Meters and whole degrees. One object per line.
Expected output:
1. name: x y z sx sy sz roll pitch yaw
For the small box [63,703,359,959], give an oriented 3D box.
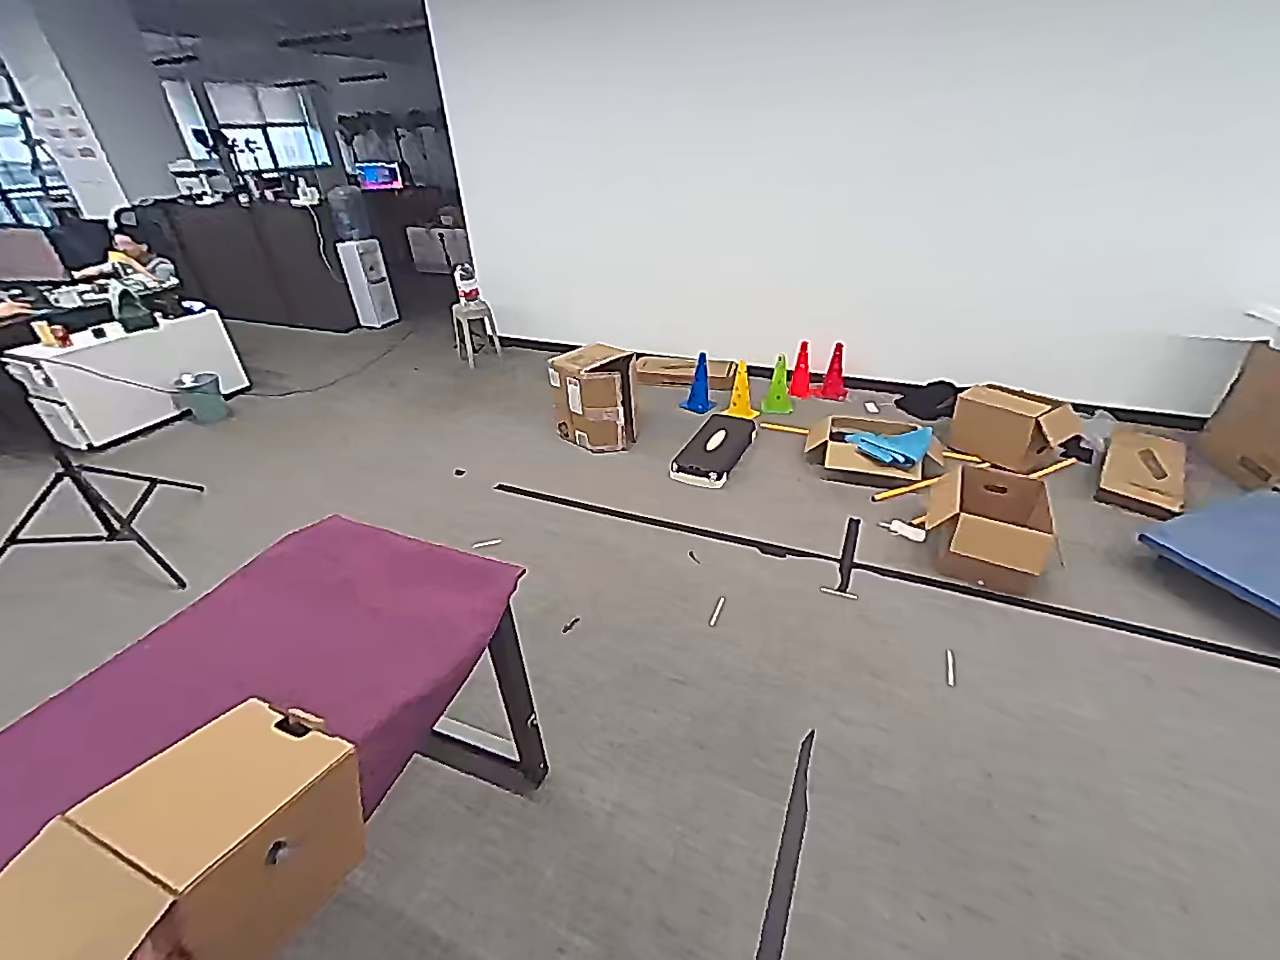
1. small box: -0.423 0.379 0.564 0.168 0.176 0.179 12 20 18
